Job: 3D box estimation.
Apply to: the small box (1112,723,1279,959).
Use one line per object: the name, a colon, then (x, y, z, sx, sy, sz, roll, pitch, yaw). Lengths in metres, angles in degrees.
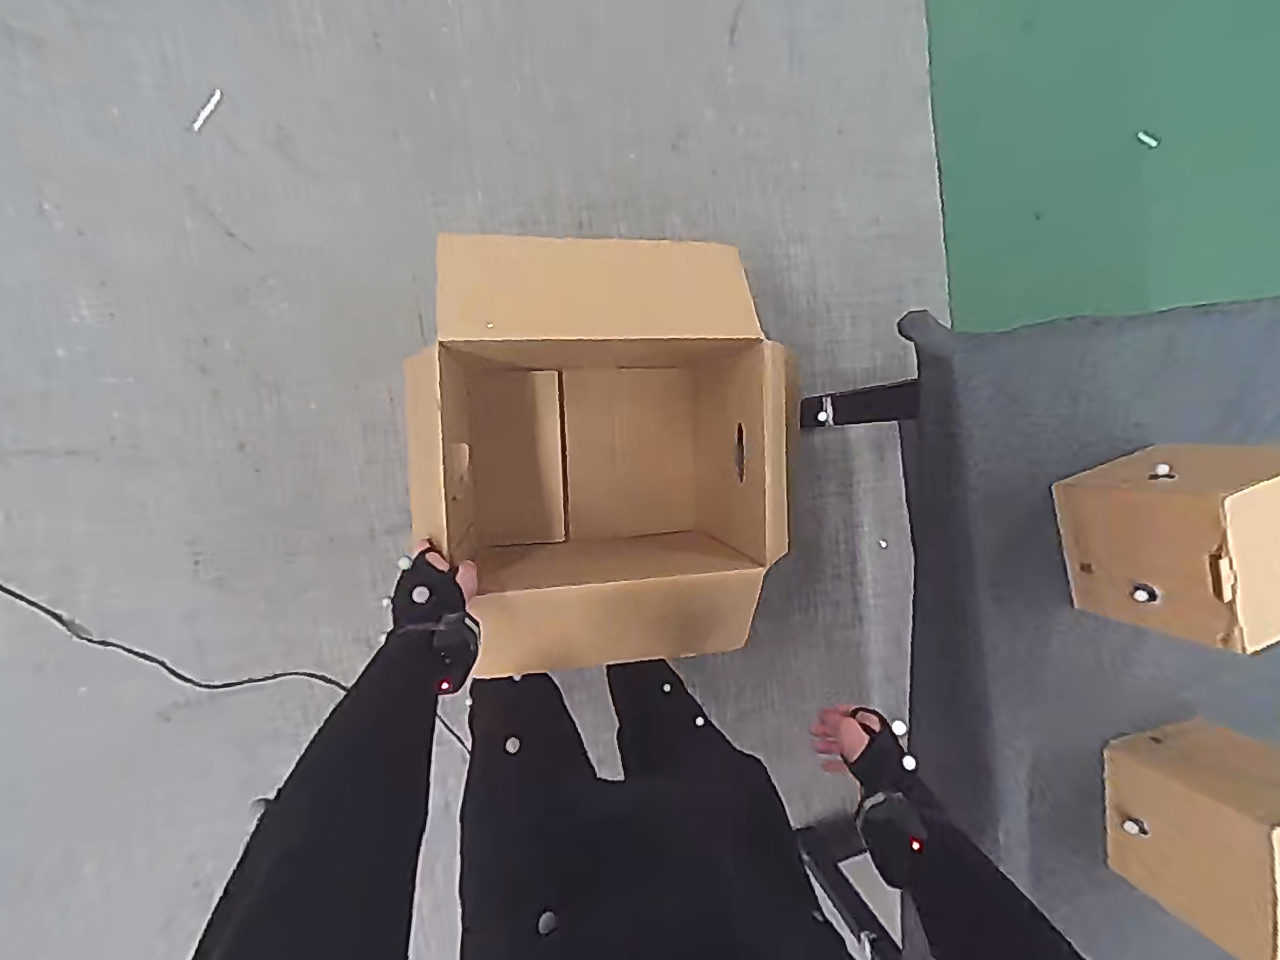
small box: (0.706, 0.423, 0.638, 0.168, 0.176, 0.179, -7, 95, -11)

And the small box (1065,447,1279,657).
small box: (0.618, 0.066, 0.604, 0.179, 0.176, 0.168, -18, 98, -12)
